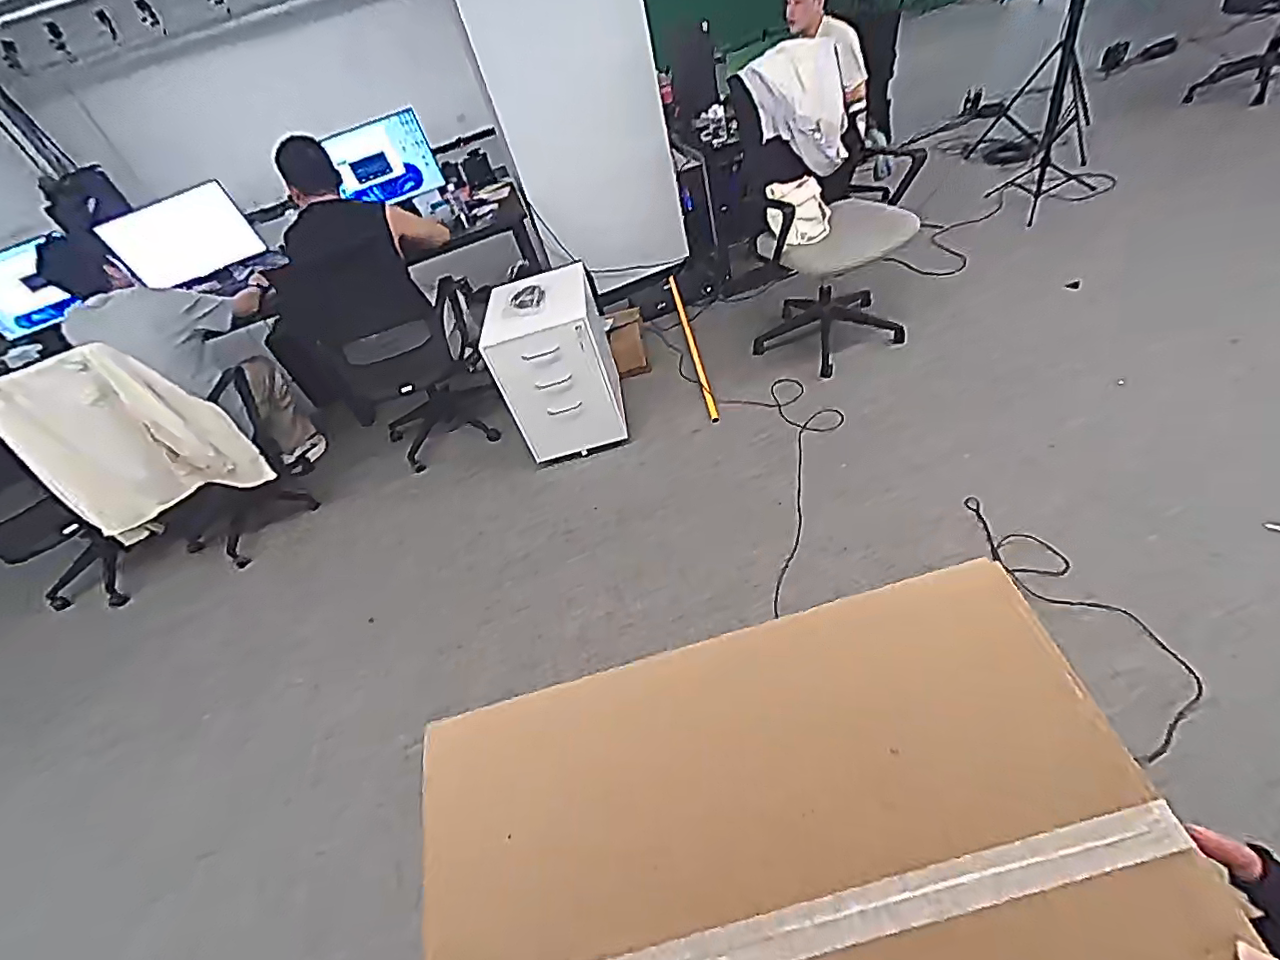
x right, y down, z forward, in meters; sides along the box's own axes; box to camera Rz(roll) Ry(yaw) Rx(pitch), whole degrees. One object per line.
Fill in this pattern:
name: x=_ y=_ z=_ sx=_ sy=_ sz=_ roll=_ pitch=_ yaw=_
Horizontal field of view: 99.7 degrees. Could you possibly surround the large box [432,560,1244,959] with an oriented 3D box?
large box: x=0.108 y=0.311 z=0.413 sx=0.408 sy=0.320 sz=0.320 roll=-18 pitch=55 yaw=2
